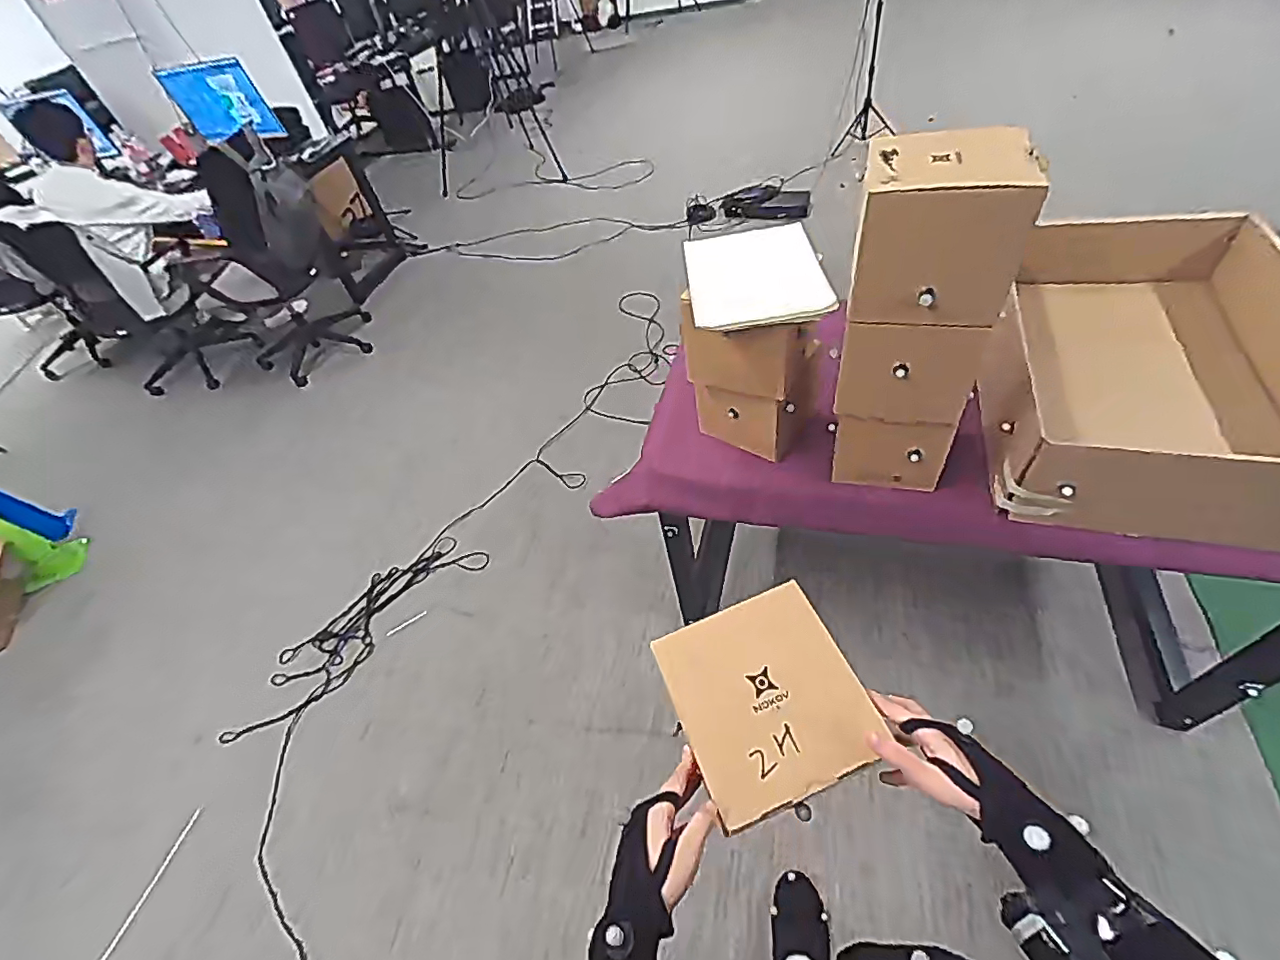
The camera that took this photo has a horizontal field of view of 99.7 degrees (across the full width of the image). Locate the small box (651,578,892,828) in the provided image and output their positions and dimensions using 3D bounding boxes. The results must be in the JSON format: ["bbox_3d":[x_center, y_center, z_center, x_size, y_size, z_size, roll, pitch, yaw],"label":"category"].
[{"bbox_3d":[0.122,0.237,0.569,0.168,0.176,0.179,-21,56,-7],"label":"small box"}]

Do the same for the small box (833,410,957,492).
[{"bbox_3d":[0.428,-0.100,0.925,0.168,0.176,0.179,8,50,18],"label":"small box"}]

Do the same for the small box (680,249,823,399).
[{"bbox_3d":[0.188,-0.257,0.898,0.179,0.176,0.168,17,55,26],"label":"small box"}]

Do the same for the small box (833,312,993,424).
[{"bbox_3d":[0.392,-0.201,0.800,0.179,0.176,0.168,7,50,19],"label":"small box"}]

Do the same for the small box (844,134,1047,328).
[{"bbox_3d":[0.366,-0.308,0.679,0.179,0.176,0.168,8,50,17],"label":"small box"}]
